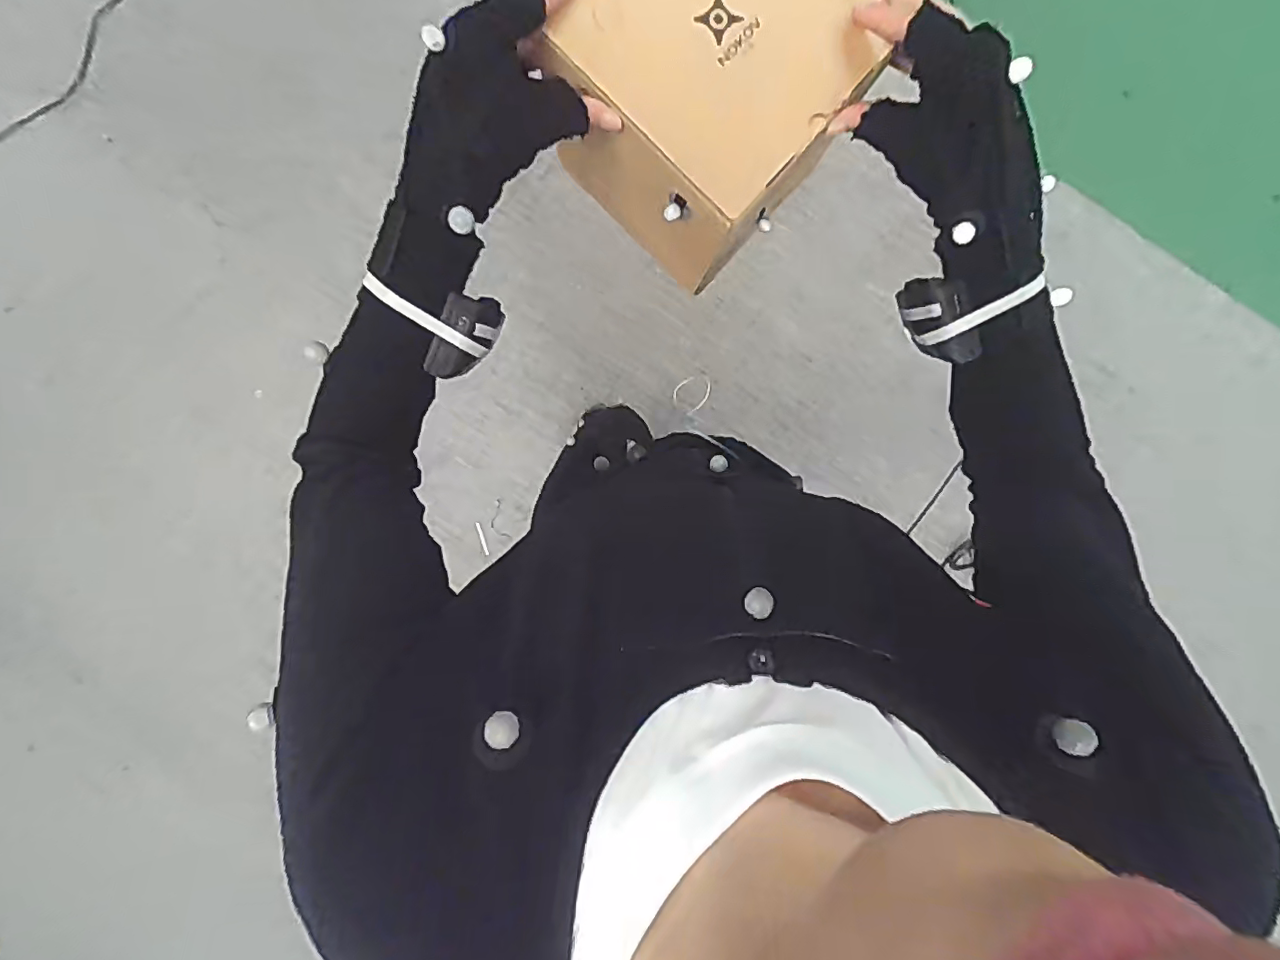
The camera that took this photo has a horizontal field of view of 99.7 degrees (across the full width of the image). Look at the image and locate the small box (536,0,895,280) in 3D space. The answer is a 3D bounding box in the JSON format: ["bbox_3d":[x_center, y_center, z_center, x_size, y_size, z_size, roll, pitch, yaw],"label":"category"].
[{"bbox_3d":[0.044,-0.290,0.422,0.179,0.176,0.168,44,90,-6],"label":"small box"}]
